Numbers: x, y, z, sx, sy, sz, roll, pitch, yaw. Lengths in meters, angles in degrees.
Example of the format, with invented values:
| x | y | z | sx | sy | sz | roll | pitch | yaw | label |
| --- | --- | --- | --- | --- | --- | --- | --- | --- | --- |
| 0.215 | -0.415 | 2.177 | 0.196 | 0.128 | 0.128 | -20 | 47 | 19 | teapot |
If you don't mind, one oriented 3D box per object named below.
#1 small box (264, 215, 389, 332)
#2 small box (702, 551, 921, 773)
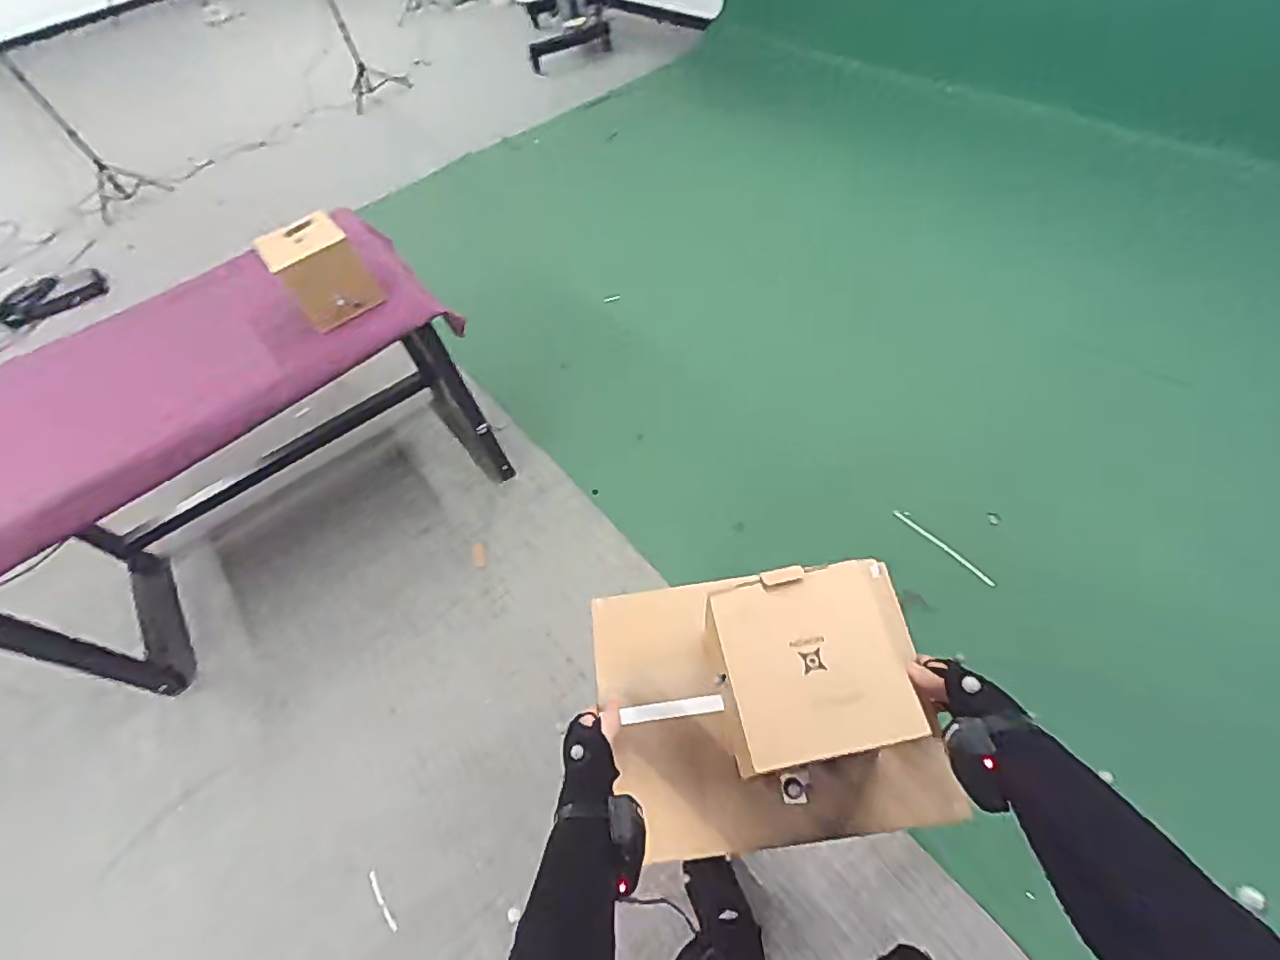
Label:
| x | y | z | sx | sy | sz | roll | pitch | yaw | label |
| --- | --- | --- | --- | --- | --- | --- | --- | --- | --- |
| -0.723 | -0.476 | 1.258 | 0.168 | 0.176 | 0.179 | -36 | 57 | -15 | small box |
| 0.166 | 0.205 | 0.596 | 0.168 | 0.176 | 0.179 | -12 | 57 | -1 | small box |
